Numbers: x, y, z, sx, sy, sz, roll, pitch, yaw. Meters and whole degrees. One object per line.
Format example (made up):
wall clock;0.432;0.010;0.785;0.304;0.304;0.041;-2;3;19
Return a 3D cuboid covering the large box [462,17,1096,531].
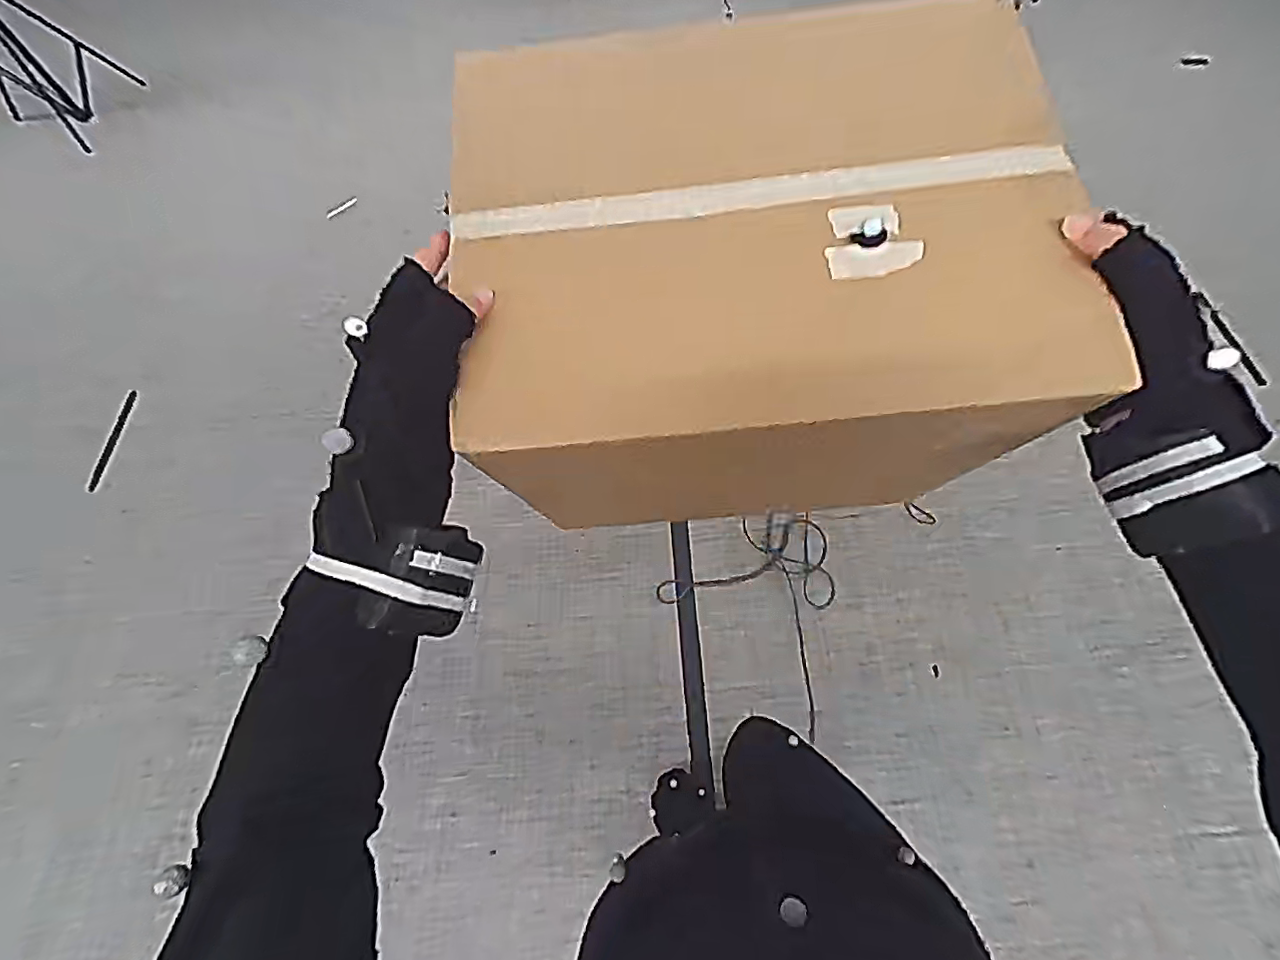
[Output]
large box;0.079;-0.145;0.520;0.408;0.320;0.320;-6;76;2
